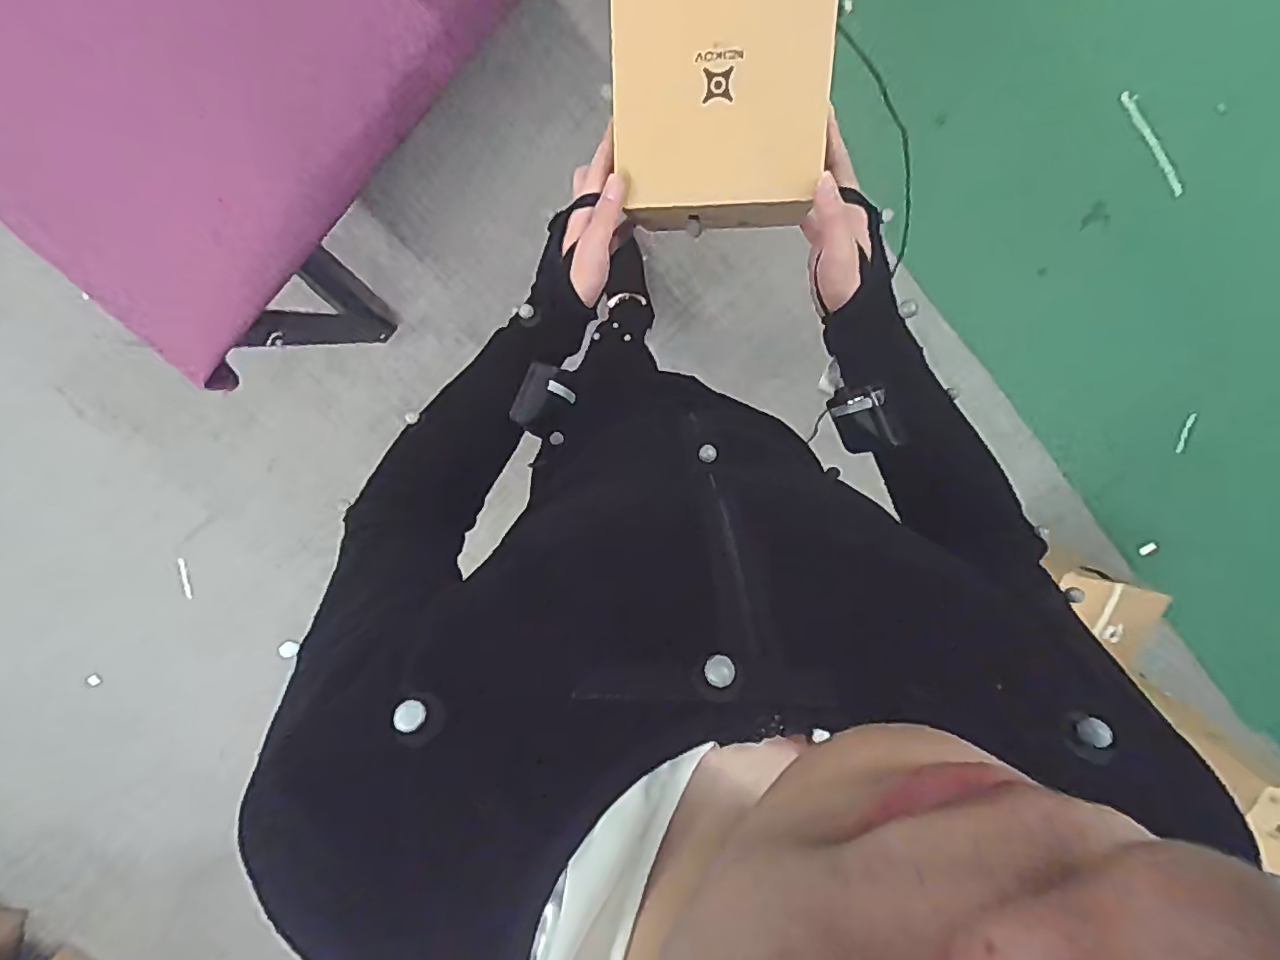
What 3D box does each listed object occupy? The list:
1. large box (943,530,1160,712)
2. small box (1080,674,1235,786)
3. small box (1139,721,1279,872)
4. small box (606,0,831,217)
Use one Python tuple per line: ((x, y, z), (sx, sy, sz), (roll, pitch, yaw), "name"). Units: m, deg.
((1.195, 0.412, 1.620), (0.320, 0.320, 0.408), (12, 104, -6), "large box")
((1.172, 0.583, 1.241), (0.168, 0.176, 0.179), (17, 104, -6), "small box")
((1.171, 0.627, 1.082), (0.168, 0.176, 0.179), (18, 105, -6), "small box")
((0.070, -0.336, 0.478), (0.168, 0.176, 0.179), (3, 109, 10), "small box")
